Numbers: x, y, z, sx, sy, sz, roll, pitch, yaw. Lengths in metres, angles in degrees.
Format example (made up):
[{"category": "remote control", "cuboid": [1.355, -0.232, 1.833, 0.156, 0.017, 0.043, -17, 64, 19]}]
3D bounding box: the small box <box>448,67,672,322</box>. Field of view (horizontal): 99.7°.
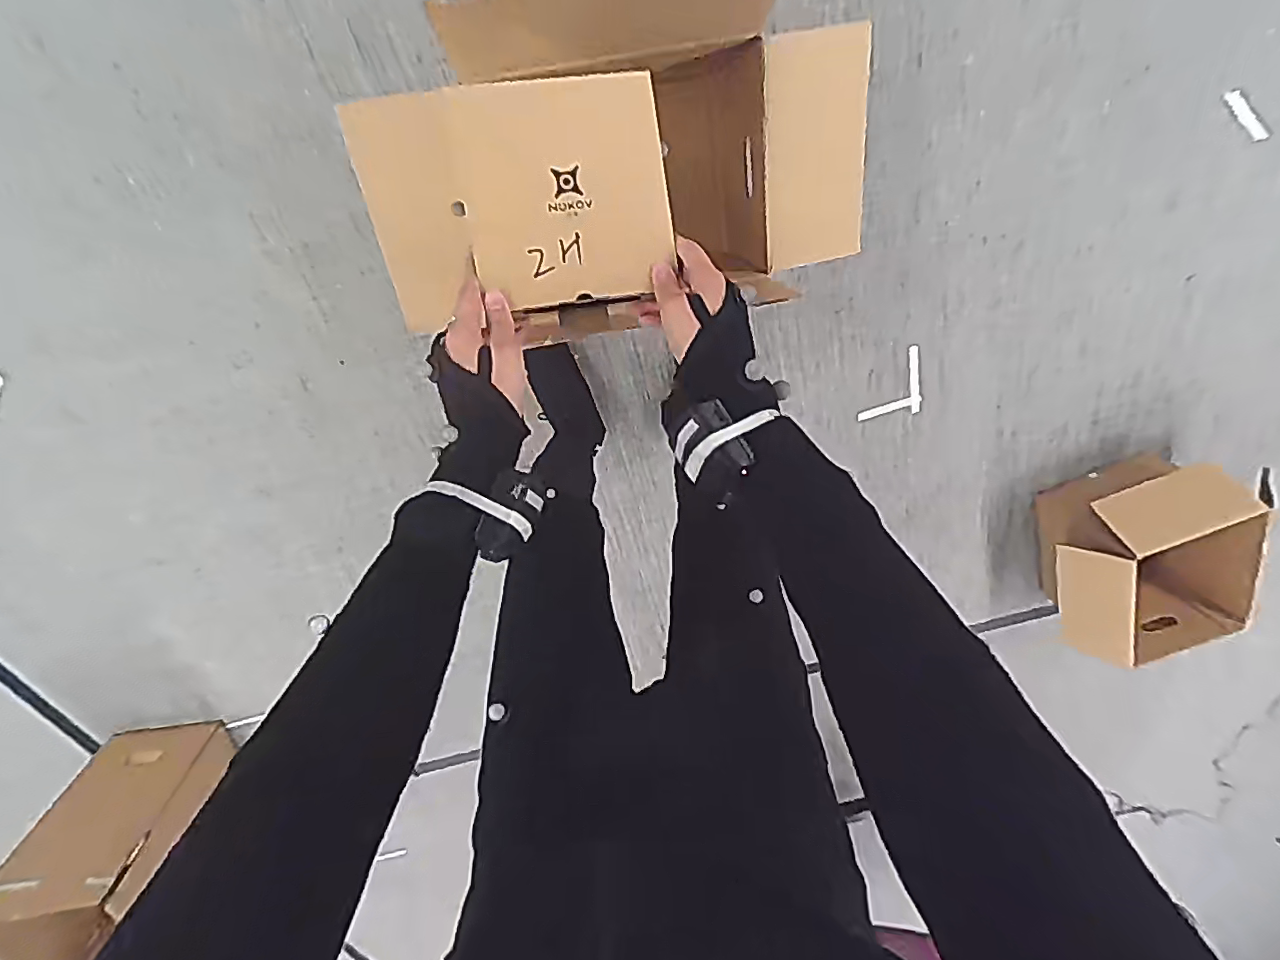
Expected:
[{"category": "small box", "cuboid": [-0.074, -0.256, 0.523, 0.168, 0.176, 0.179, -9, 105, -7]}]
